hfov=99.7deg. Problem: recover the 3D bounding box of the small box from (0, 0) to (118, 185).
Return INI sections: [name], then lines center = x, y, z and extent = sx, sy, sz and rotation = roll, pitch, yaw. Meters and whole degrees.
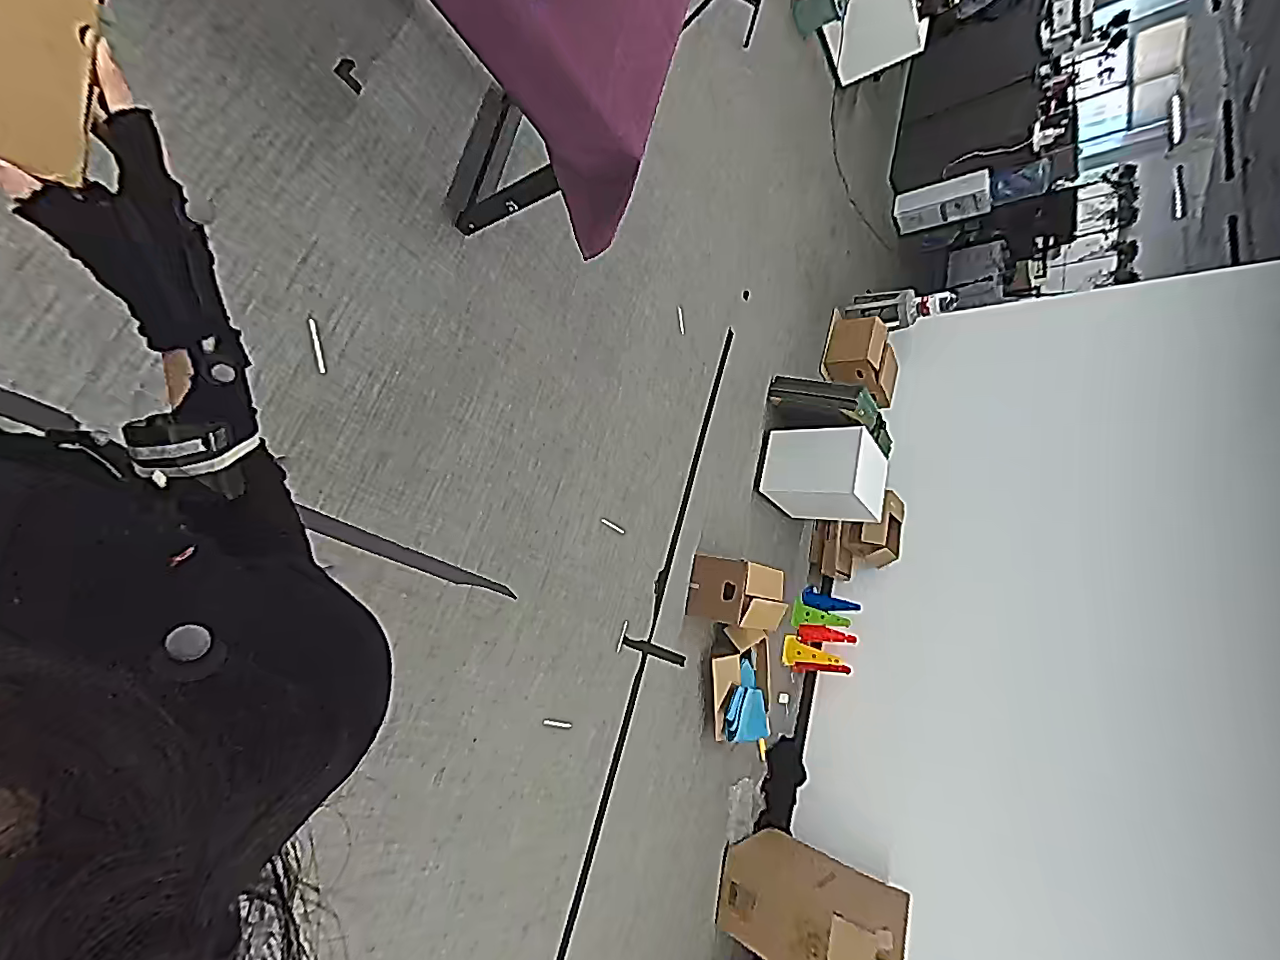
[small box]
center = -0.410, -0.277, 0.280
extent = 0.179, 0.176, 0.168
rotation = 3, 105, -54
